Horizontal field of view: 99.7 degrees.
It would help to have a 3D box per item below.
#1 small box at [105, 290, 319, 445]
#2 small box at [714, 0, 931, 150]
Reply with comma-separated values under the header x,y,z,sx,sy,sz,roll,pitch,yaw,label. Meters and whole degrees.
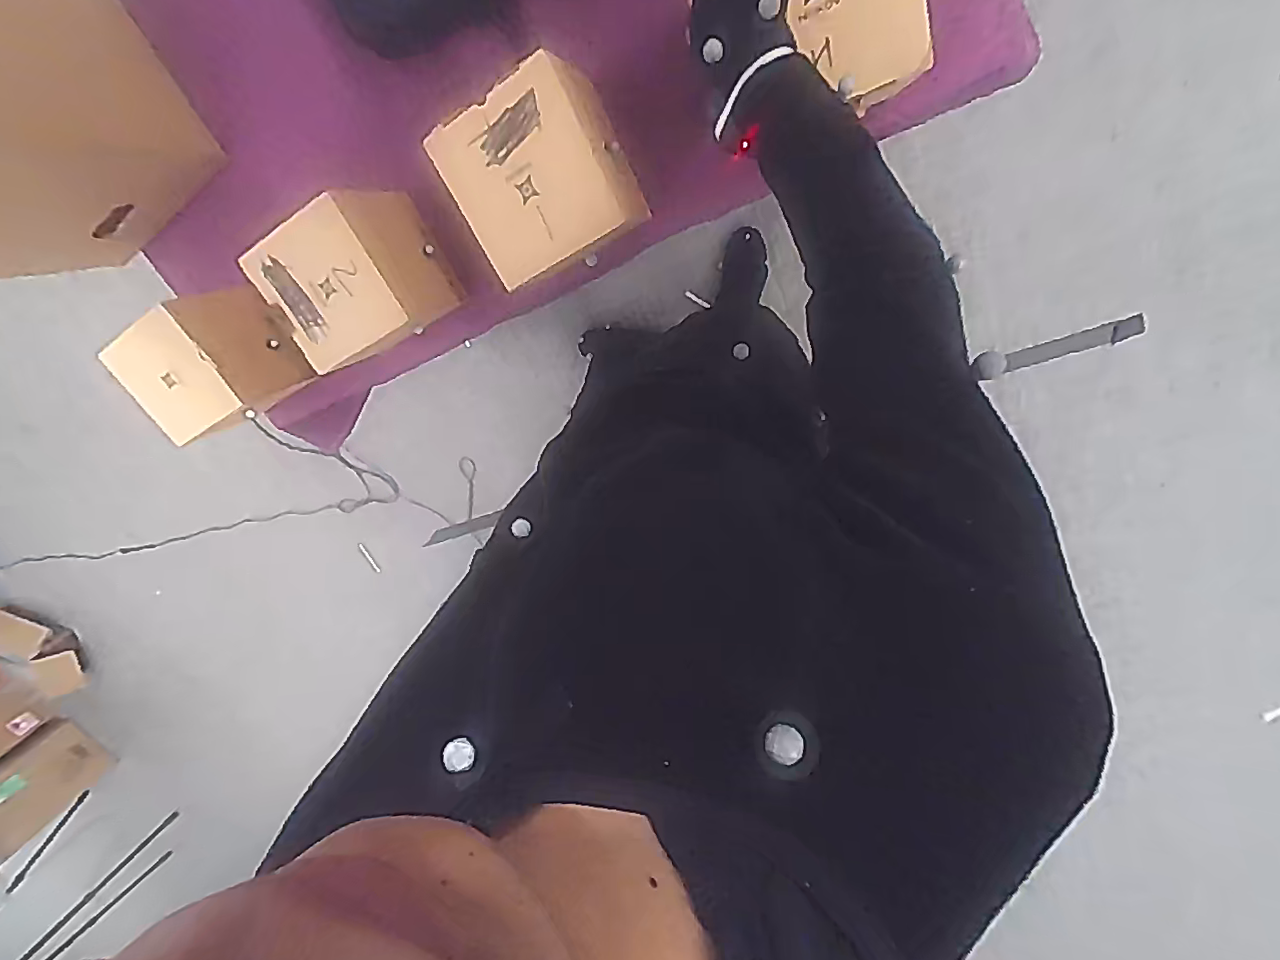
x,y,z,sx,sy,sz,roll,pitch,yaw,label
-0.670,-0.184,0.868,0.179,0.176,0.168,-23,110,21,small box
0.167,-0.455,0.533,0.168,0.176,0.179,-13,114,20,small box
